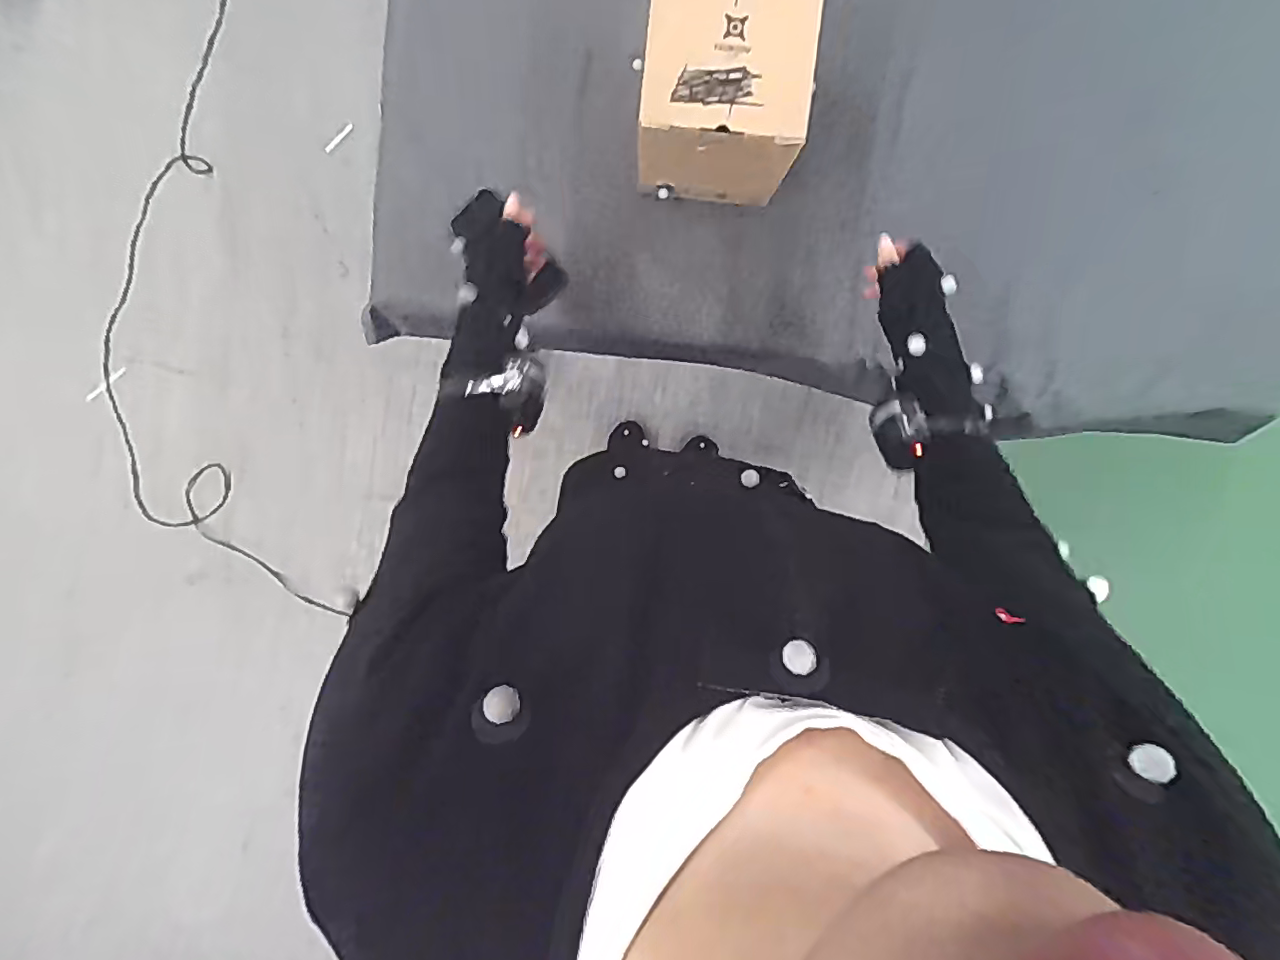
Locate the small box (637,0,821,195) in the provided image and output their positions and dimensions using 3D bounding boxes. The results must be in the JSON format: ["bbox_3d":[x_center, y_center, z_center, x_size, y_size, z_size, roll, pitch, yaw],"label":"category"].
[{"bbox_3d":[0.087,-0.439,0.595,0.168,0.176,0.179,5,96,-2],"label":"small box"}]
